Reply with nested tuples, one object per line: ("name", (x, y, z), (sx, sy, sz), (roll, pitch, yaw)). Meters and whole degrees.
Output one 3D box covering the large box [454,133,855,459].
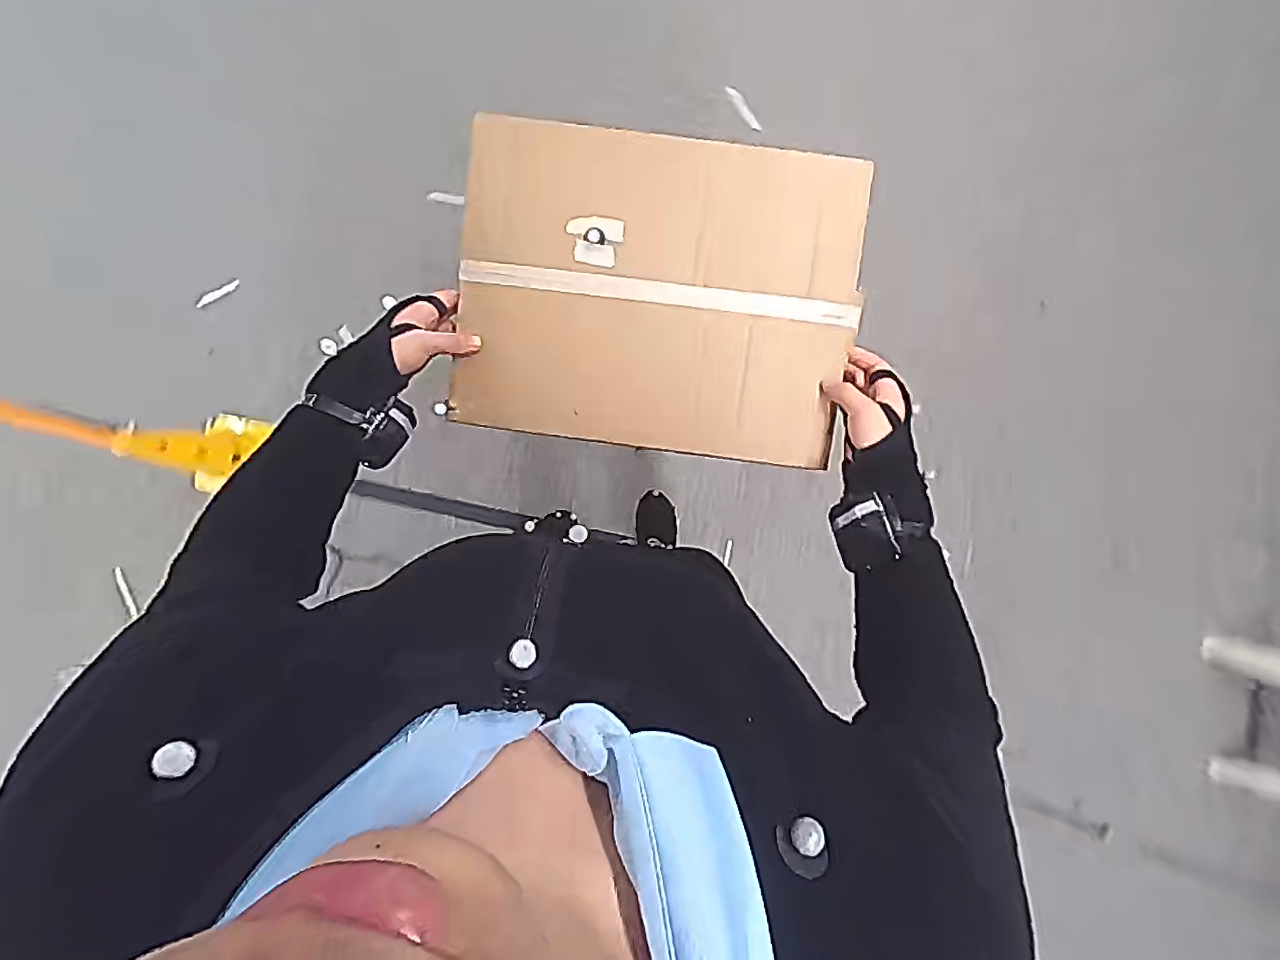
("large box", (0.017, -0.203, 0.713), (0.408, 0.320, 0.320), (6, 94, 2))
